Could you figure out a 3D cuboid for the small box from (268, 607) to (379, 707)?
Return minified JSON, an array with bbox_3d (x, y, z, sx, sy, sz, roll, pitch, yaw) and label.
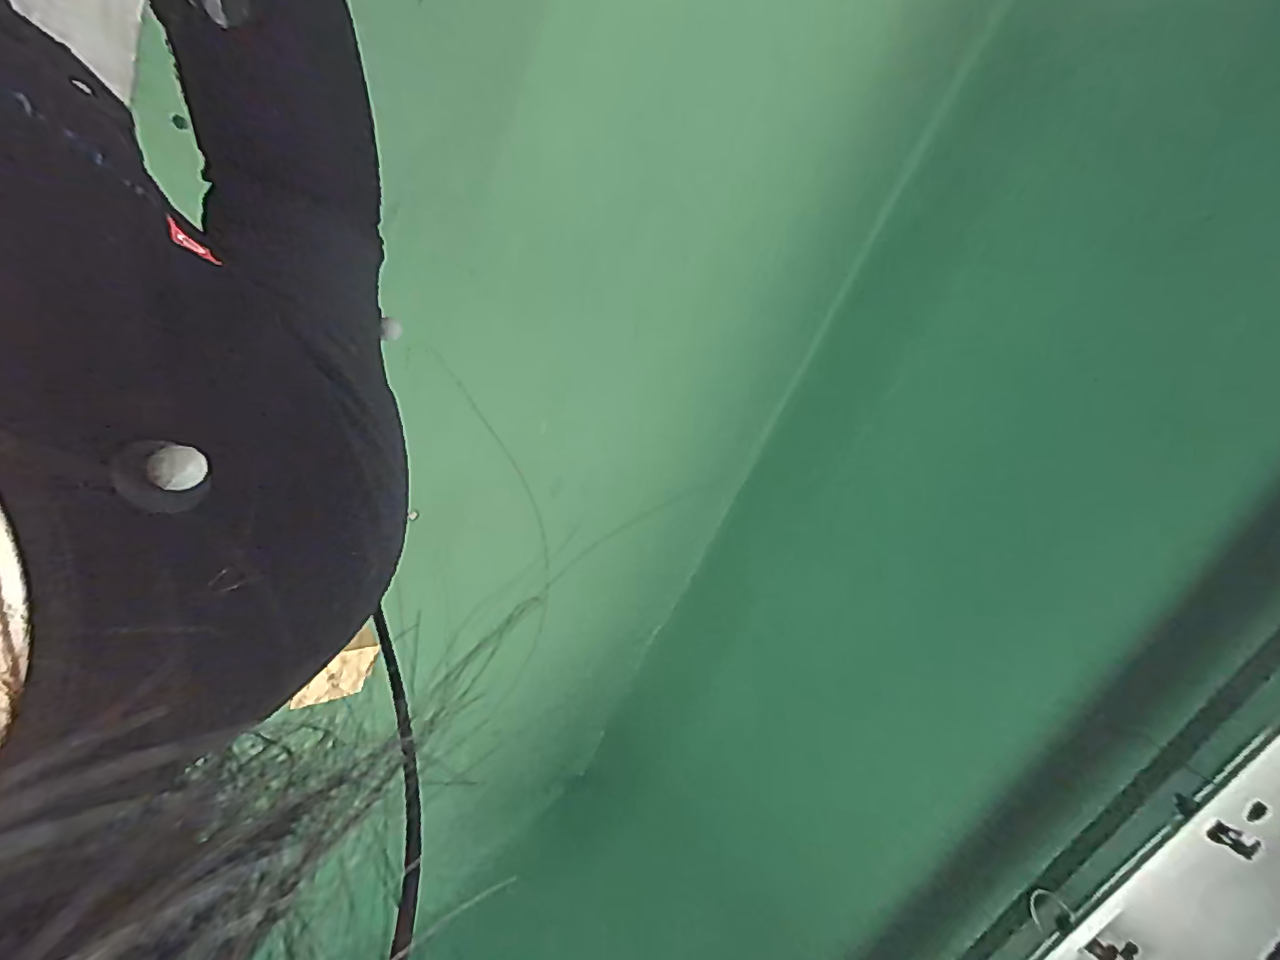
[{"bbox_3d":[-0.818,0.445,1.394,0.179,0.176,0.168,7,115,-55],"label":"small box"}]
